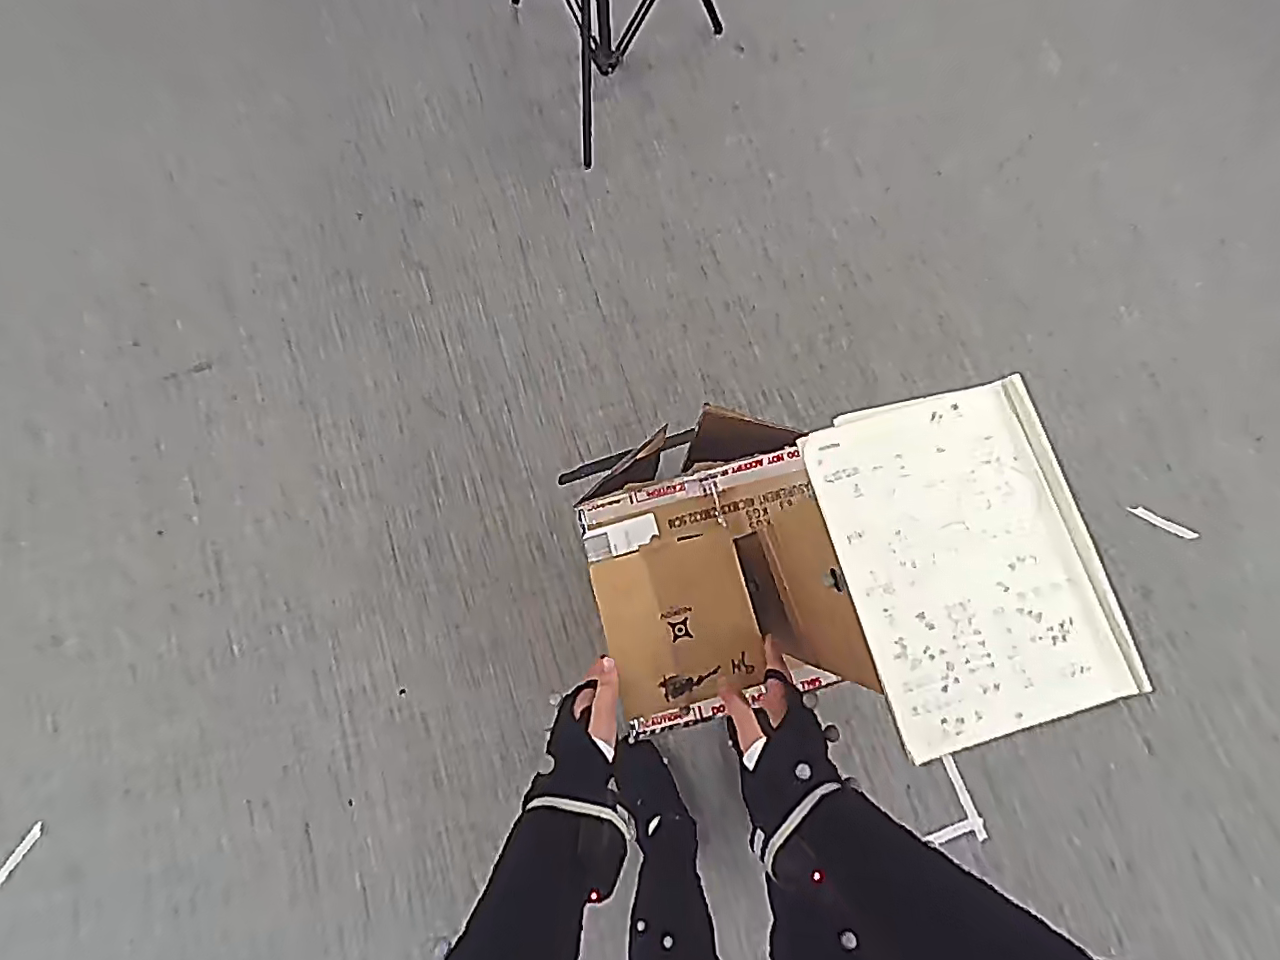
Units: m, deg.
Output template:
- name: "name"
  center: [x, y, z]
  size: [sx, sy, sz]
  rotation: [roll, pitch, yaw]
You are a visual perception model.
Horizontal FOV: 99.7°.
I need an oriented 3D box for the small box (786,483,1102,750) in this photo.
- name: "small box"
  center: [0.256, 0.118, 0.506]
  size: [0.168, 0.176, 0.179]
  rotation: [-15, 81, -5]
